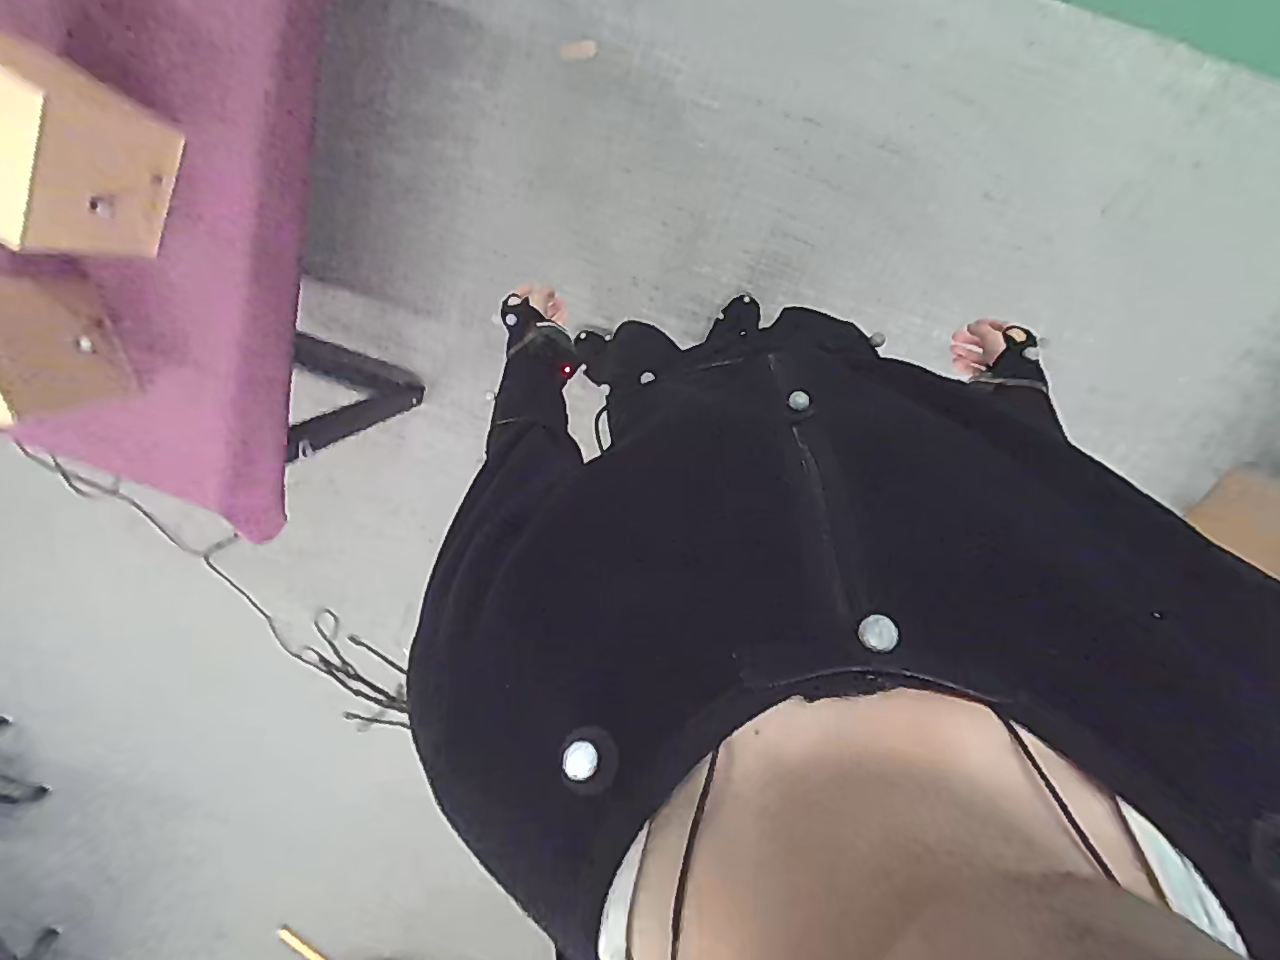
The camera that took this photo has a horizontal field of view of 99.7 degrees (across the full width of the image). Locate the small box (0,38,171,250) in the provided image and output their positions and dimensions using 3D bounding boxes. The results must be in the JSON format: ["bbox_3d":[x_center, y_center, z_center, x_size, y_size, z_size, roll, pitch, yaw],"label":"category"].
[{"bbox_3d":[-0.691,-0.381,0.608,0.179,0.176,0.168,31,109,-6],"label":"small box"}]

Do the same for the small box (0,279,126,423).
[{"bbox_3d":[-0.840,-0.161,0.693,0.179,0.176,0.168,-6,109,6],"label":"small box"}]
